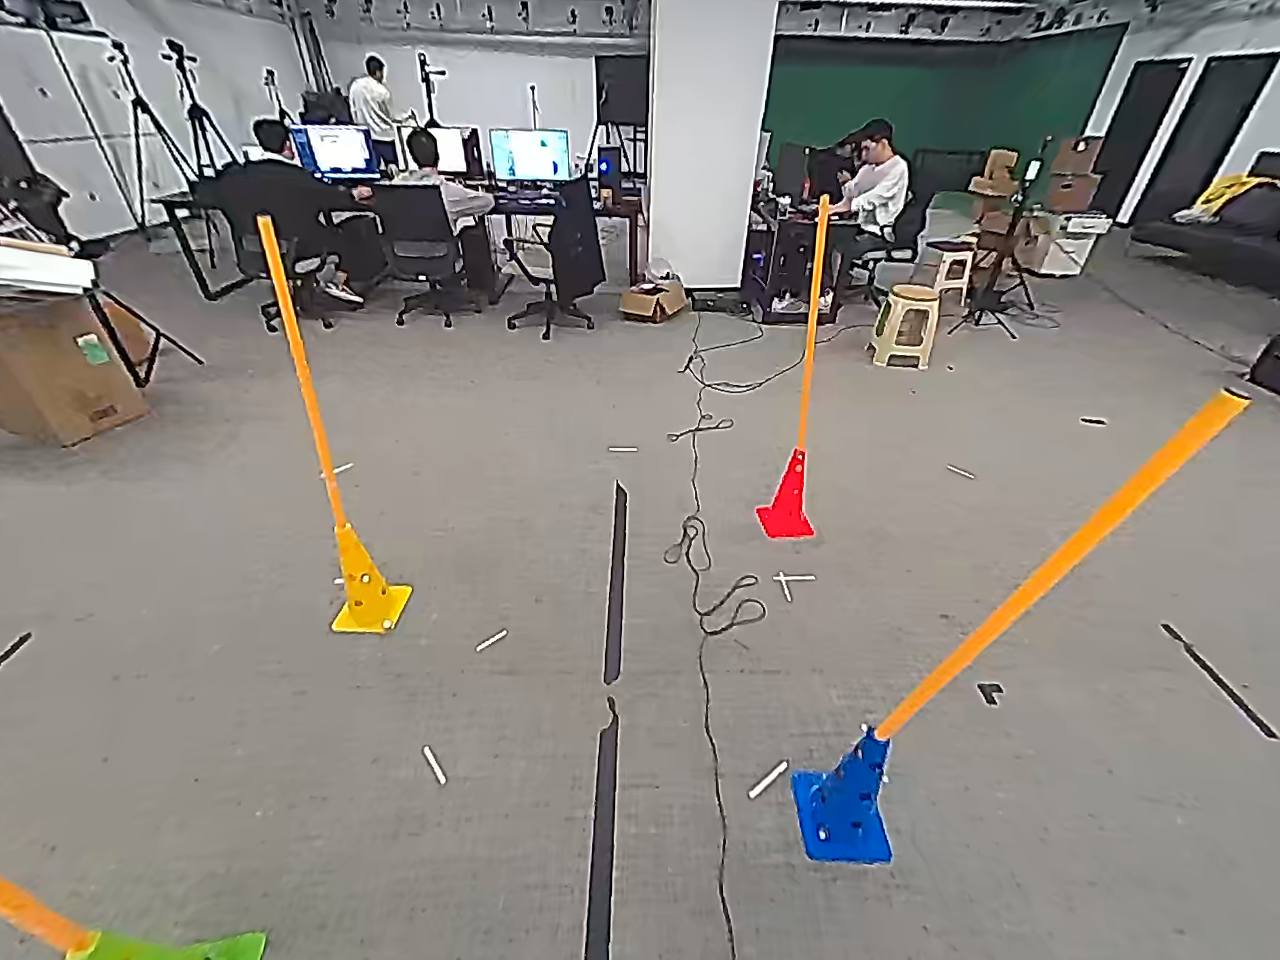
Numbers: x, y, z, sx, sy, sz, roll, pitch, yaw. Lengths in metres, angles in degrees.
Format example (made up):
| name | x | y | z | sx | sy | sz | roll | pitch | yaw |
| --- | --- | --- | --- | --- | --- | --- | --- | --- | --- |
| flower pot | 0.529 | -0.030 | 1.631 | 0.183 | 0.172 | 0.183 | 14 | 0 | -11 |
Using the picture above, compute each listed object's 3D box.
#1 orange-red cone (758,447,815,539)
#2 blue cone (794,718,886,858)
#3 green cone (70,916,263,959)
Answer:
| name | x | y | z | sx | sy | sz | roll | pitch | yaw |
| --- | --- | --- | --- | --- | --- | --- | --- | --- | --- |
| orange-red cone | 0.600 | 0.033 | 2.119 | 0.199 | 0.360 | 0.198 | -3 | 34 | -4 |
| blue cone | 0.485 | 0.669 | 1.216 | 0.193 | 0.380 | 0.192 | 2 | 34 | 2 |
| green cone | -0.835 | 0.838 | 0.911 | 0.200 | 0.368 | 0.202 | -5 | 33 | -10 |
